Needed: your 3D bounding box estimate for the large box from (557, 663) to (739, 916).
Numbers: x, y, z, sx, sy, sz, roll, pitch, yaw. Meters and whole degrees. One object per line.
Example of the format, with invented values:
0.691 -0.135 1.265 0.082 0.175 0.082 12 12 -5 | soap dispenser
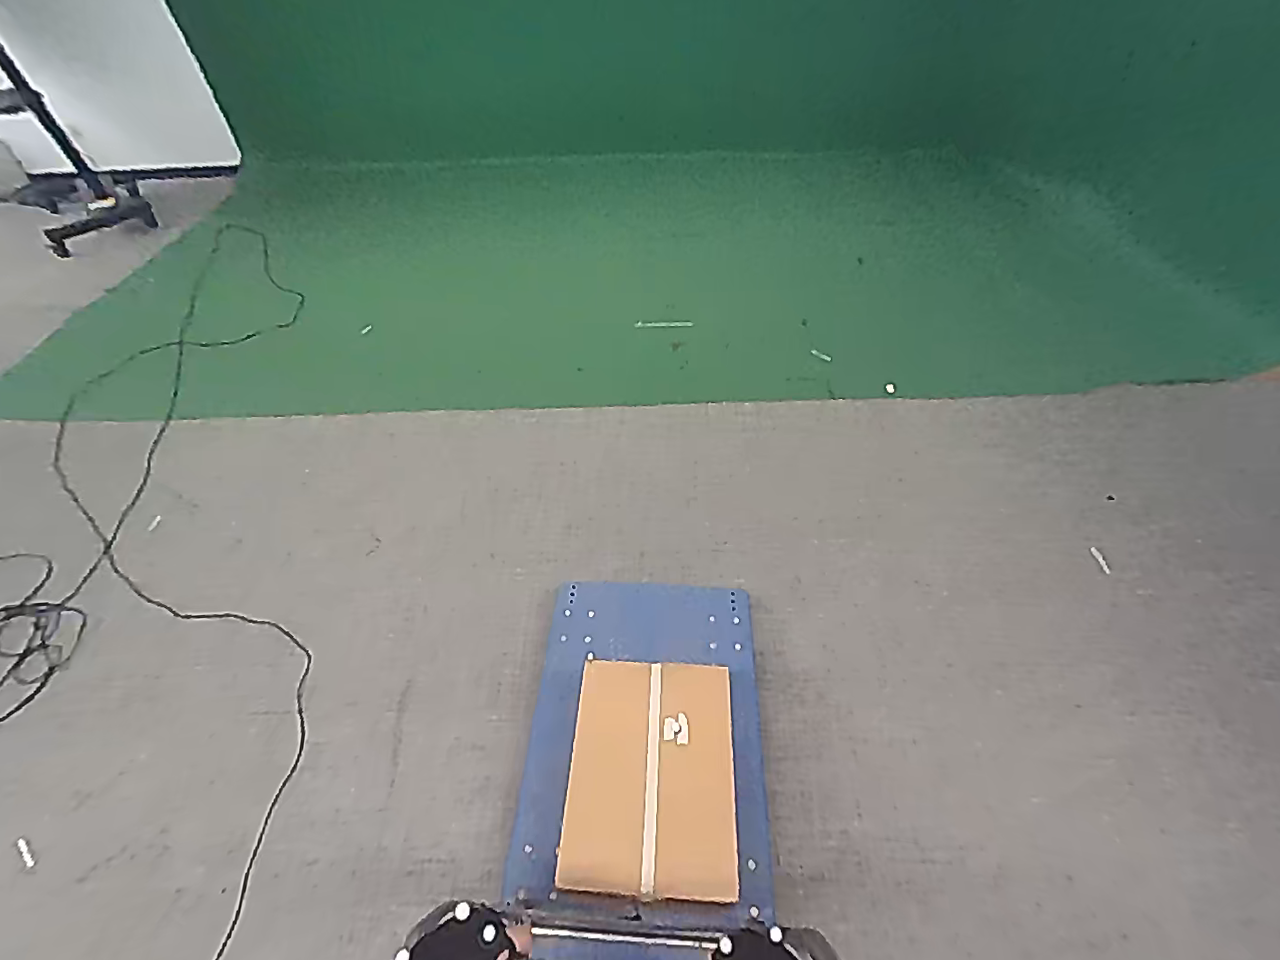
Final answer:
0.024 0.650 1.143 0.320 0.320 0.408 2 47 3 | large box
